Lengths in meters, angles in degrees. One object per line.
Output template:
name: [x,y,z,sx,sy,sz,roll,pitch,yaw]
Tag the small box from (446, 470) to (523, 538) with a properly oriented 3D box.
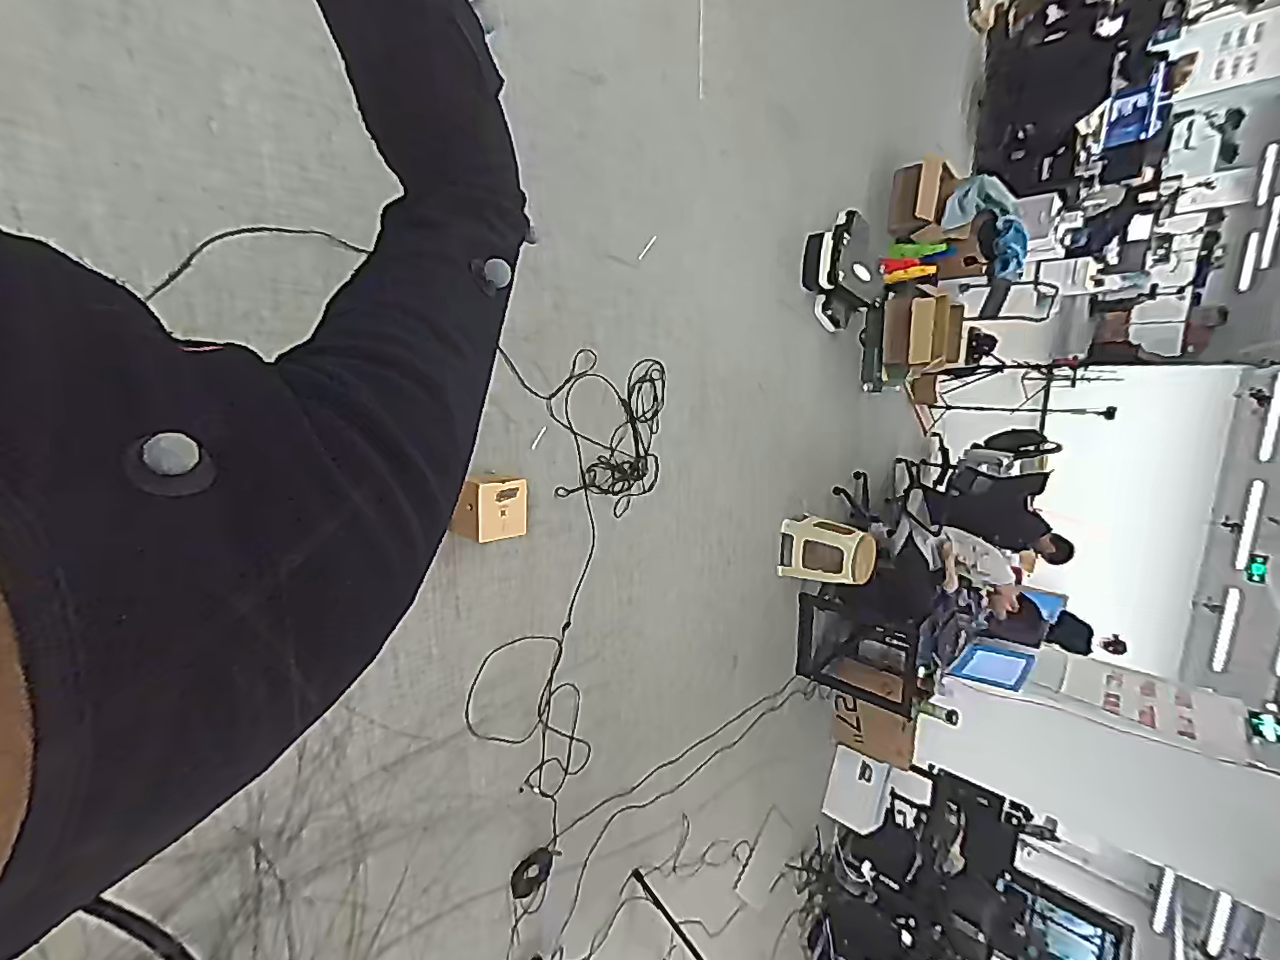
small box: [-0.475,0.064,1.643,0.168,0.176,0.179,-7,104,-47]
